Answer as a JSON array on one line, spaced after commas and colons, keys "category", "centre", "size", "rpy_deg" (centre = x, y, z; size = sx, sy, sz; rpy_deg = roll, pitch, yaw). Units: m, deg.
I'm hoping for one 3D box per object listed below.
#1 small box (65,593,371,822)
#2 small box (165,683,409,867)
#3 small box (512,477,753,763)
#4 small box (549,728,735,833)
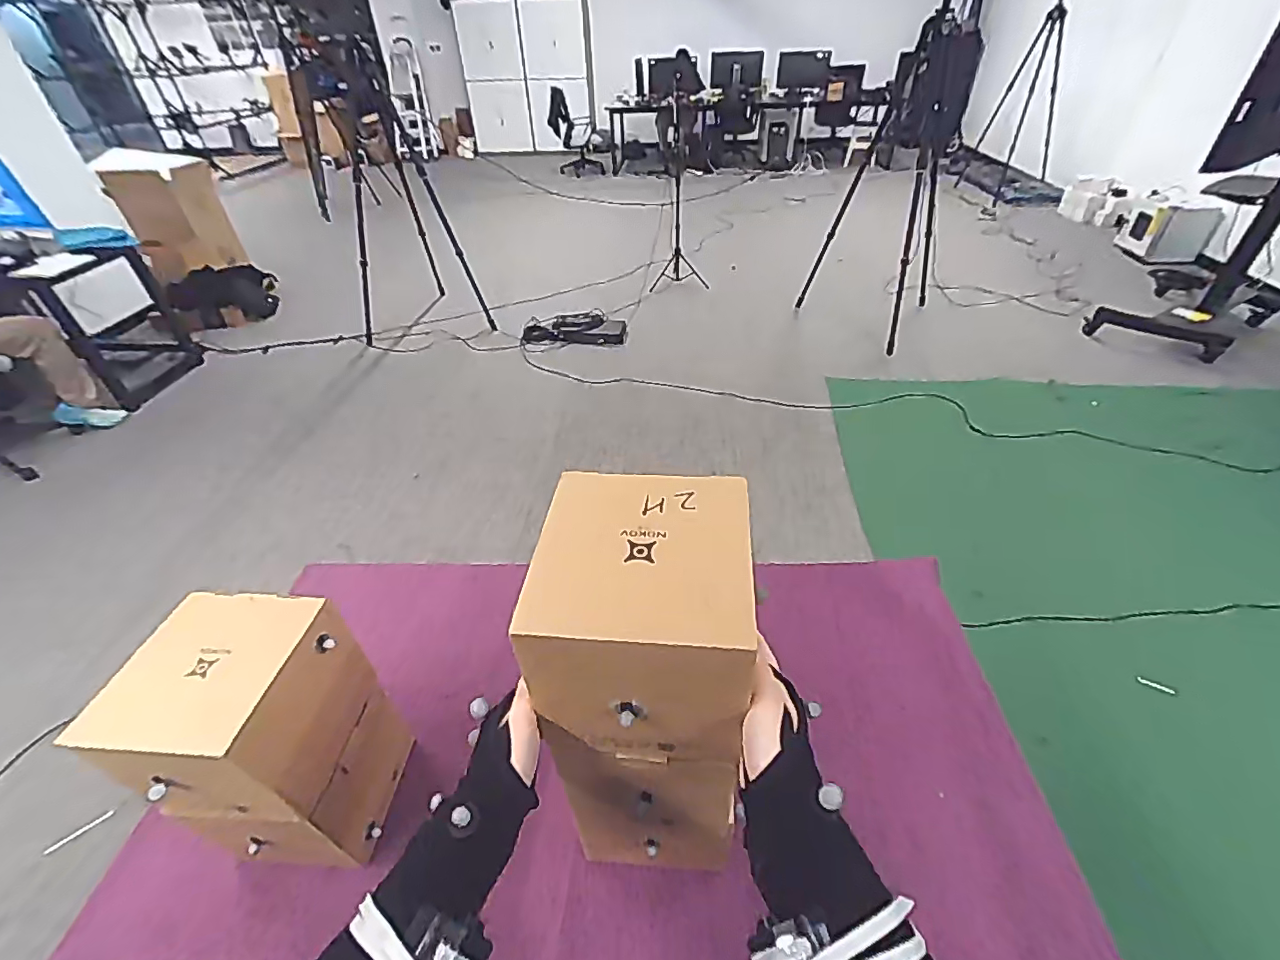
[{"category": "small box", "centre": [-0.429, 0.249, 0.594], "size": [0.168, 0.176, 0.179], "rpy_deg": [2, 39, 5]}, {"category": "small box", "centre": [-0.427, 0.375, 0.696], "size": [0.179, 0.176, 0.168], "rpy_deg": [1, 39, 4]}, {"category": "small box", "centre": [0.007, 0.118, 0.467], "size": [0.168, 0.176, 0.179], "rpy_deg": [3, 39, 7]}, {"category": "small box", "centre": [0.016, 0.245, 0.573], "size": [0.168, 0.176, 0.179], "rpy_deg": [4, 41, 7]}]
